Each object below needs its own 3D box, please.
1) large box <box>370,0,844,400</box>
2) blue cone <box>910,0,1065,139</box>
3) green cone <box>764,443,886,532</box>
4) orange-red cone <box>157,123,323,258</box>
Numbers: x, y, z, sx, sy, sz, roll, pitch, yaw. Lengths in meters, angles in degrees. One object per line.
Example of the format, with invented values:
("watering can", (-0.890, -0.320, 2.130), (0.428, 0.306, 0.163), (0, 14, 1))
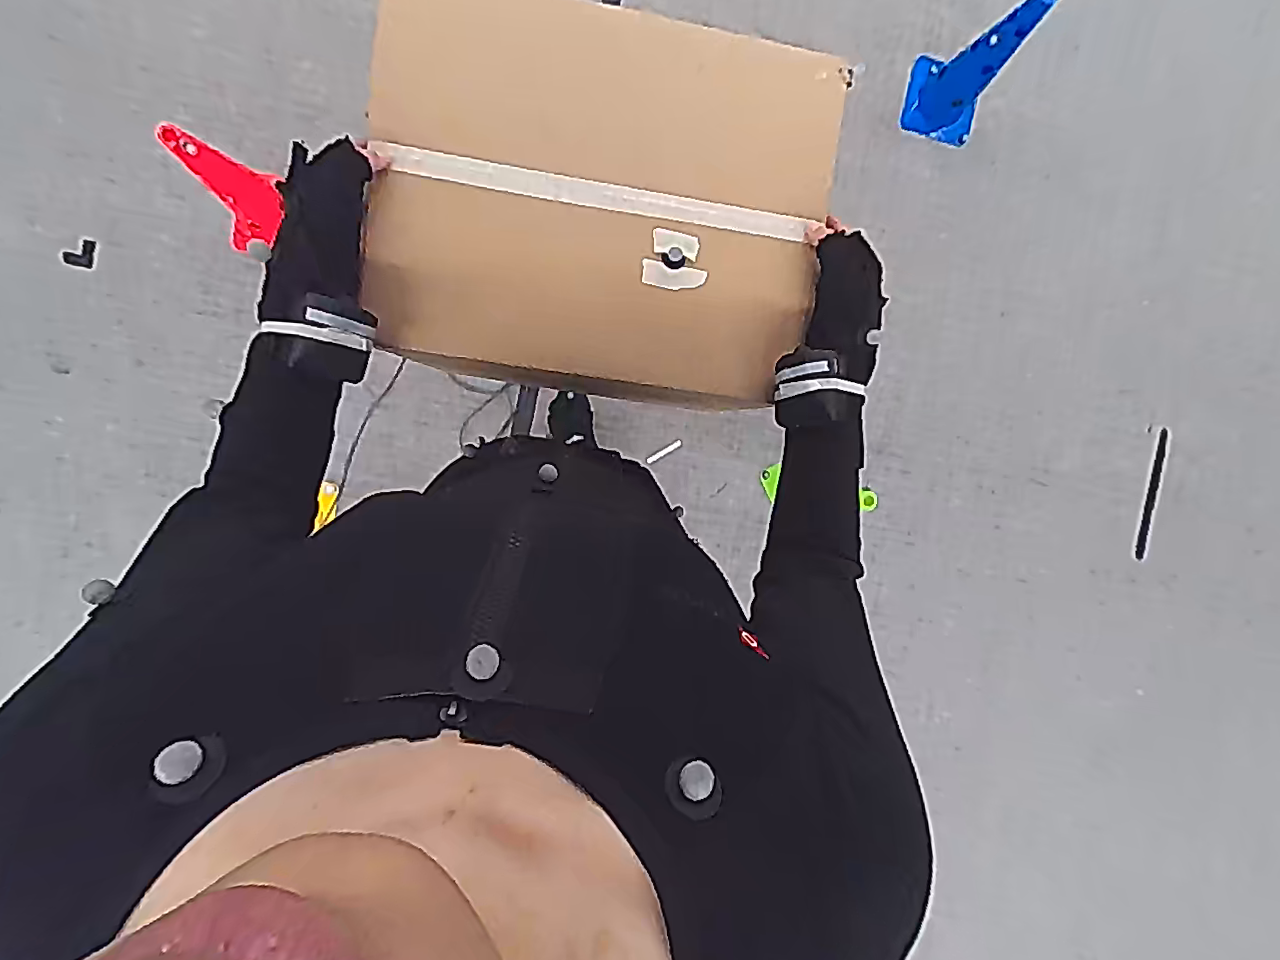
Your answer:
("large box", (-0.043, -0.276, 0.630), (0.408, 0.320, 0.320), (7, 96, -7))
("blue cone", (0.855, -1.038, 1.319), (0.192, 0.380, 0.193), (15, 92, -7))
("green cone", (0.482, 0.030, 1.330), (0.202, 0.368, 0.200), (-26, 96, -5))
("orange-red cone", (-0.886, -0.653, 1.176), (0.198, 0.360, 0.199), (9, 94, -4))
